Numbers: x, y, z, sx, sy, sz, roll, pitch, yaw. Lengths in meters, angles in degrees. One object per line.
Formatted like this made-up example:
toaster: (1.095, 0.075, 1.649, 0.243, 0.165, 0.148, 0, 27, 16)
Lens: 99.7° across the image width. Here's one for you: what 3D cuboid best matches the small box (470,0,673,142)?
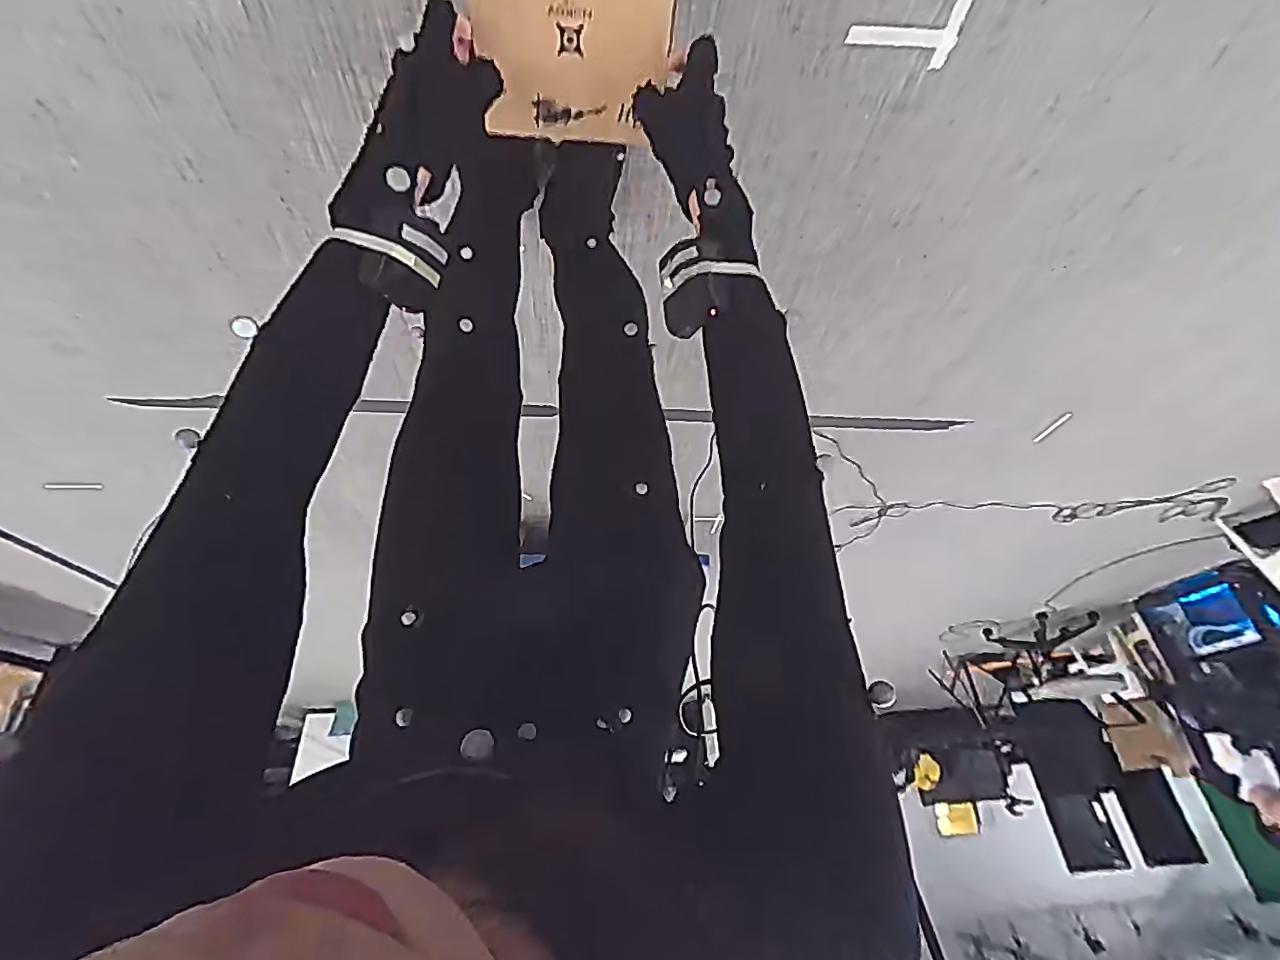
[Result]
small box: (-0.060, -0.446, 0.492, 0.168, 0.176, 0.179, 2, 146, -5)
